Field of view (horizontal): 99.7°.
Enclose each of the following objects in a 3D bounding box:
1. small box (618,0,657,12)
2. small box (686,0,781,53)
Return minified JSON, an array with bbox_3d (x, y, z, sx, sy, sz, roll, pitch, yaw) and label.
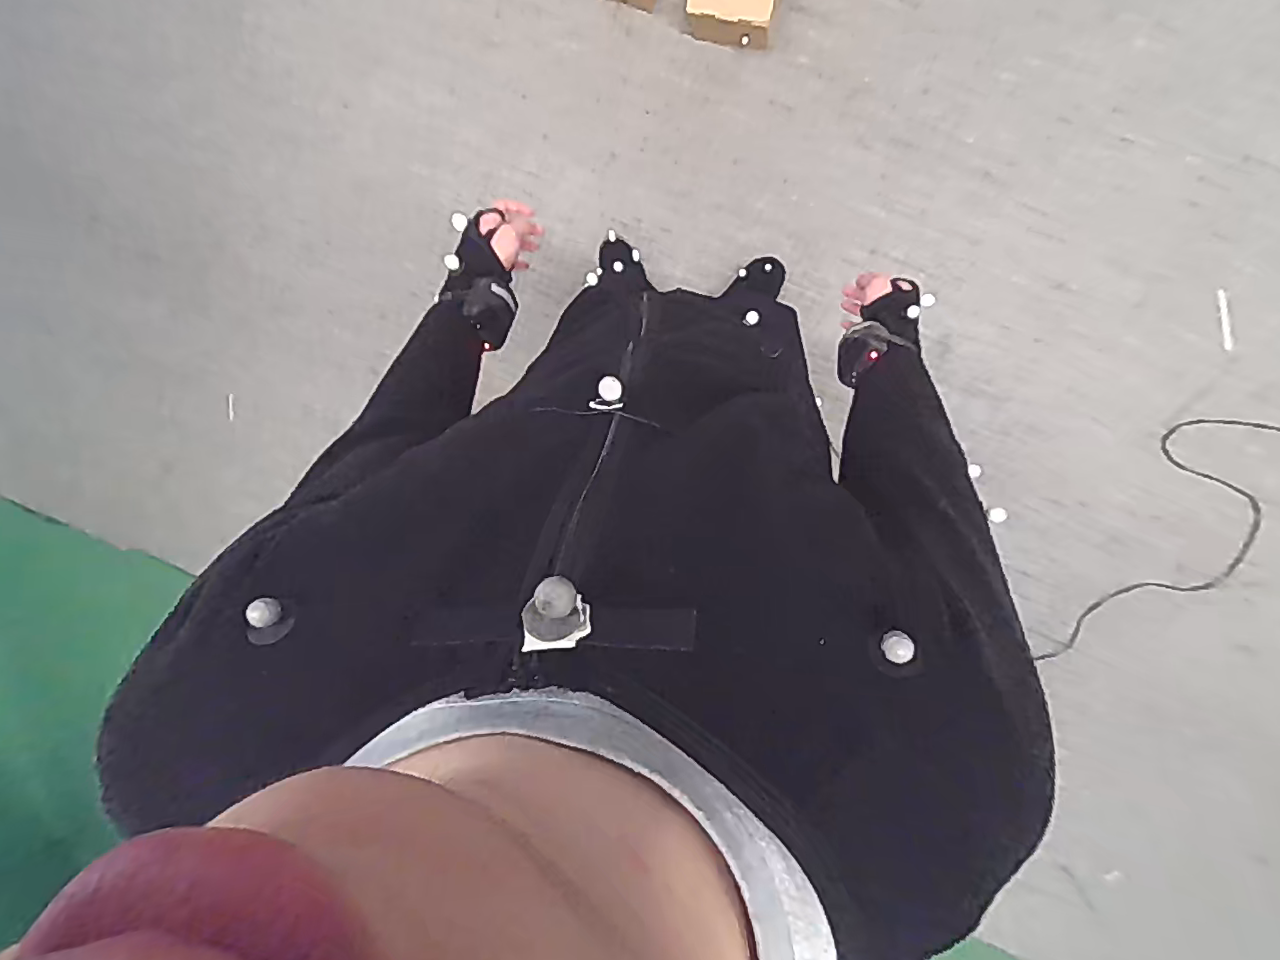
[{"bbox_3d":[-0.037,-1.083,1.075,0.168,0.176,0.179,22,117,3],"label":"small box"},{"bbox_3d":[0.198,-0.980,1.066,0.168,0.176,0.179,14,114,6],"label":"small box"}]
